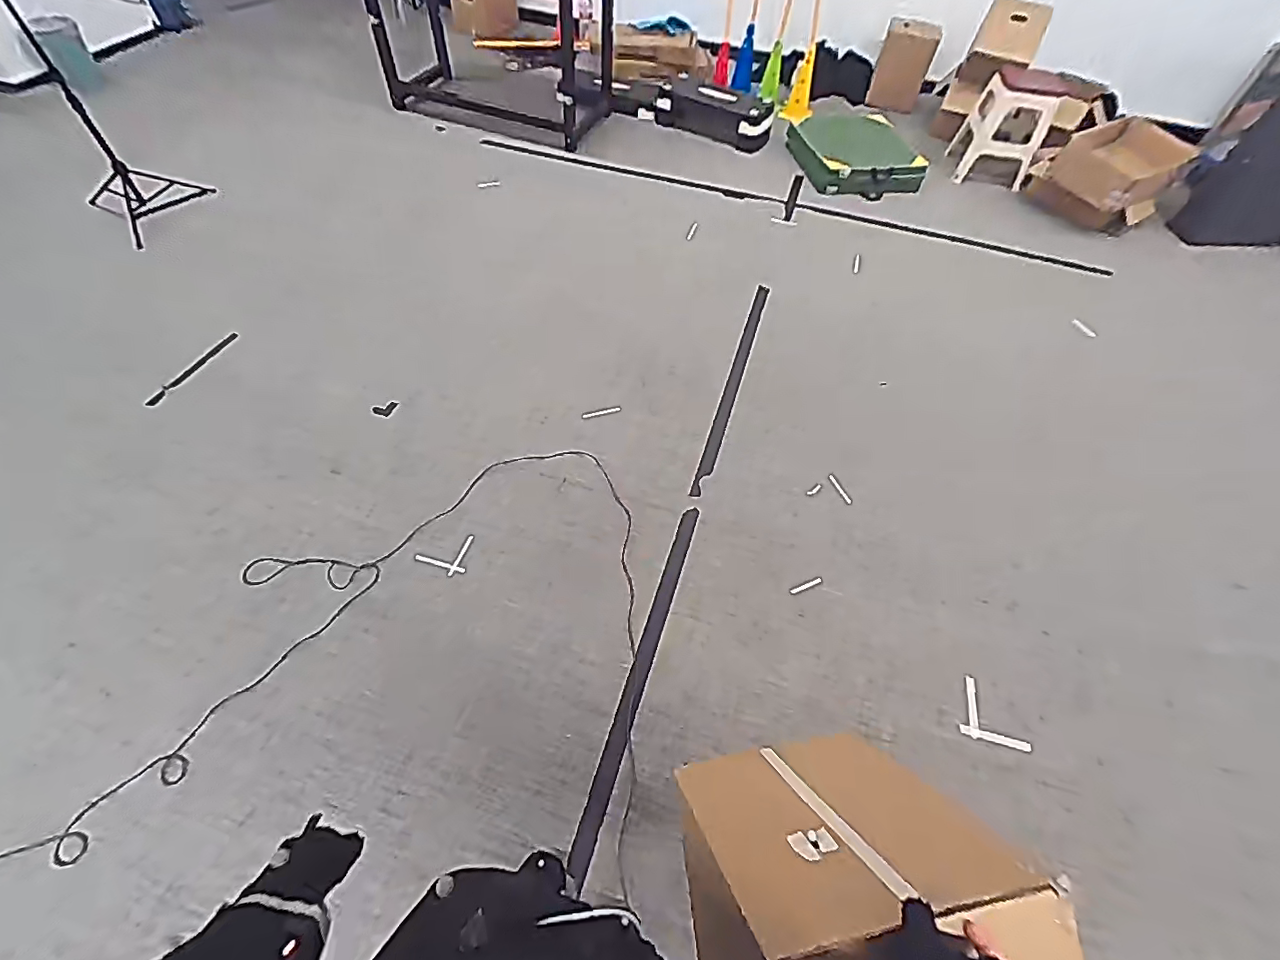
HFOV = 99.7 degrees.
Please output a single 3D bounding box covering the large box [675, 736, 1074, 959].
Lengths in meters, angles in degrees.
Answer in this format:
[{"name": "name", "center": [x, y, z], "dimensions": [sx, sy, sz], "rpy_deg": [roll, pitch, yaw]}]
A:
[{"name": "large box", "center": [0.255, 0.583, 0.692], "dimensions": [0.320, 0.408, 0.320], "rpy_deg": [-7, 87, -10]}]
